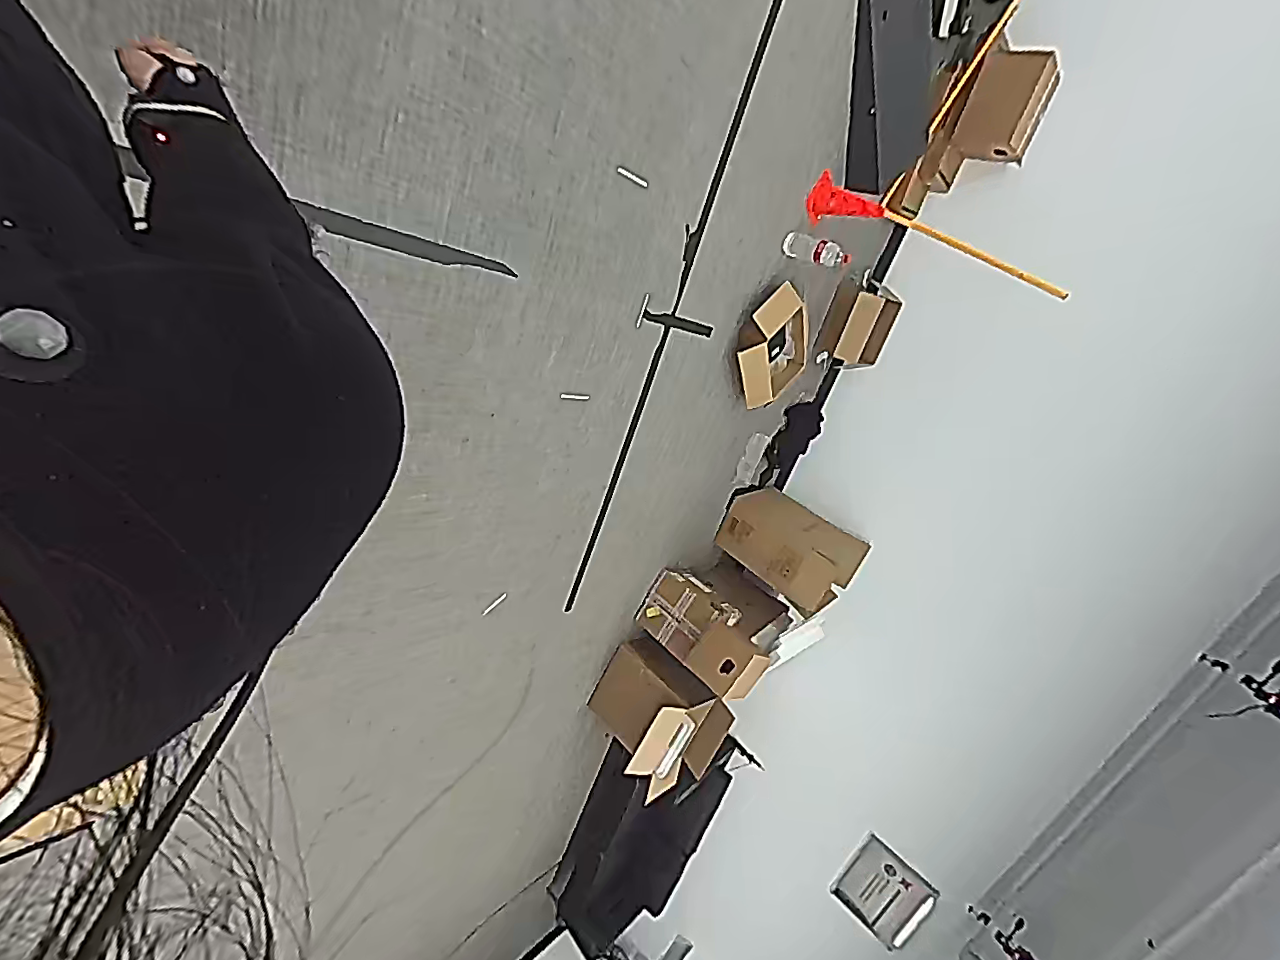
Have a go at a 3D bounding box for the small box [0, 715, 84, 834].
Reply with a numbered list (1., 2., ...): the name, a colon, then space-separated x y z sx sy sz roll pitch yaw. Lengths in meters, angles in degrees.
1. small box: -1.481 0.702 1.305 0.168 0.176 0.179 -11 127 -48
